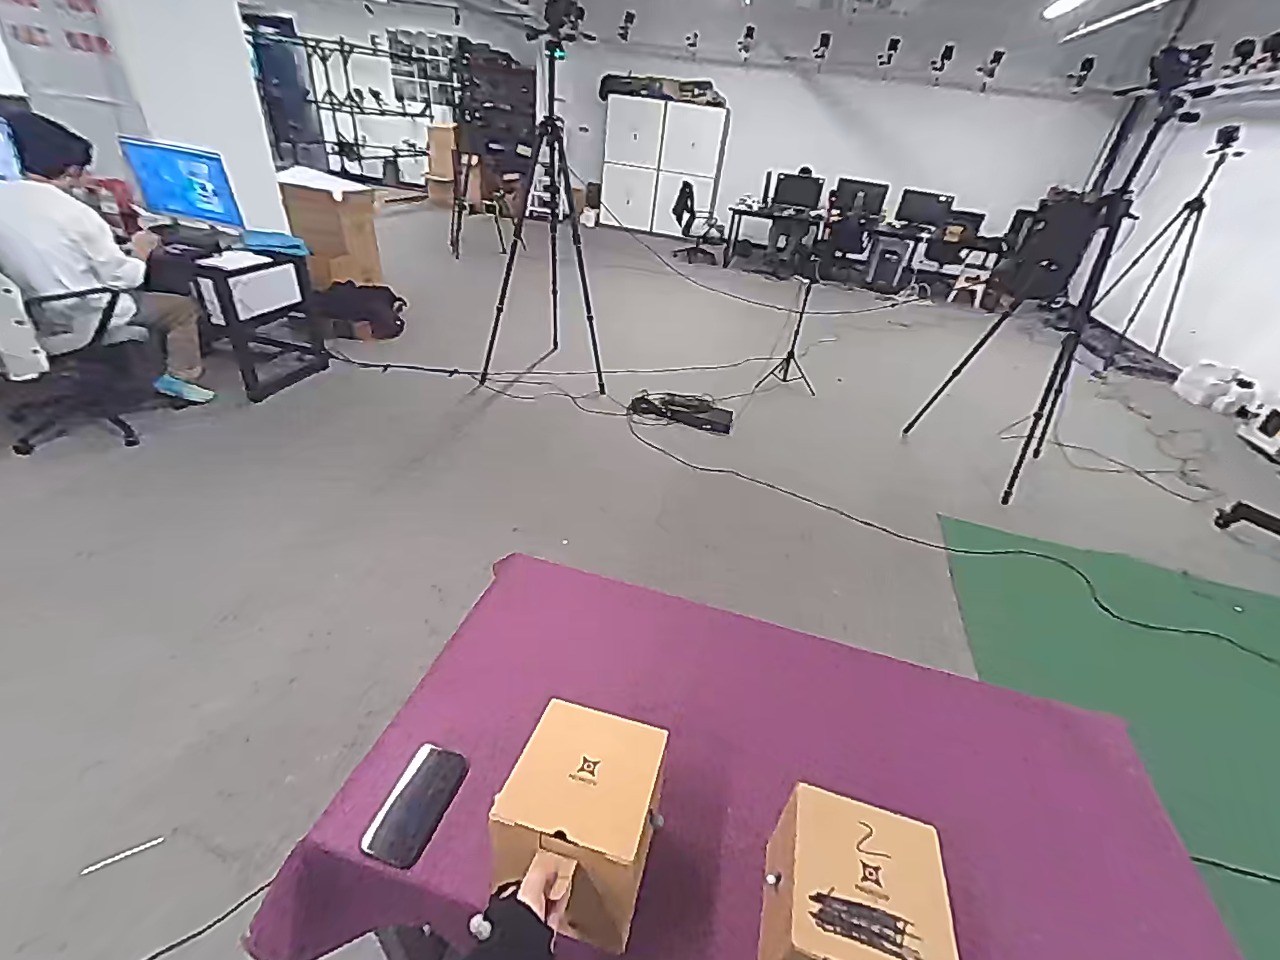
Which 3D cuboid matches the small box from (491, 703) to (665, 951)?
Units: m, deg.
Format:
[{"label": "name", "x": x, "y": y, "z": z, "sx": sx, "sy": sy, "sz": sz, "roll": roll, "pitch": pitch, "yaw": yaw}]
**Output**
[{"label": "small box", "x": -0.075, "y": 0.426, "z": 0.681, "sx": 0.168, "sy": 0.176, "sz": 0.179, "roll": 11, "pitch": 25, "yaw": 11}]
